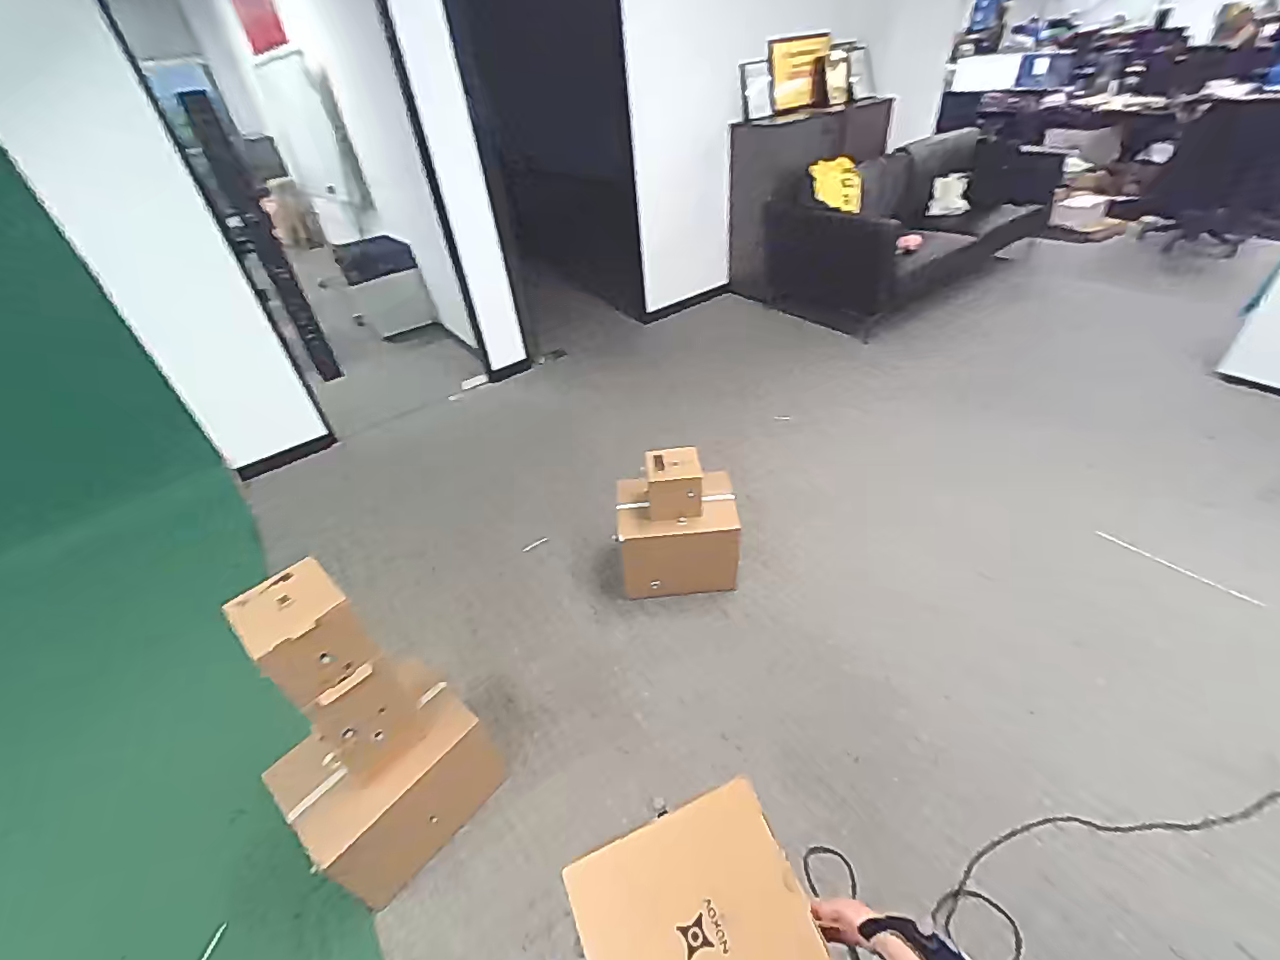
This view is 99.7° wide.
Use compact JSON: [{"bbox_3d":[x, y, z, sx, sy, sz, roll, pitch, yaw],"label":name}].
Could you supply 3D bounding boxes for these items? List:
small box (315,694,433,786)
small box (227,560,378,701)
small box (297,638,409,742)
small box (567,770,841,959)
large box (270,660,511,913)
[{"bbox_3d":[-0.612,0.556,1.242,0.168,0.176,0.179,28,49,34],"label":"small box"},{"bbox_3d":[-0.642,0.295,1.045,0.179,0.176,0.168,29,50,34],"label":"small box"},{"bbox_3d":[-0.623,0.422,1.148,0.179,0.176,0.168,29,51,36],"label":"small box"},{"bbox_3d":[0.050,0.389,0.484,0.179,0.176,0.168,-19,58,-13],"label":"small box"},{"bbox_3d":[-0.605,0.761,1.378,0.320,0.320,0.408,23,48,34],"label":"large box"}]
